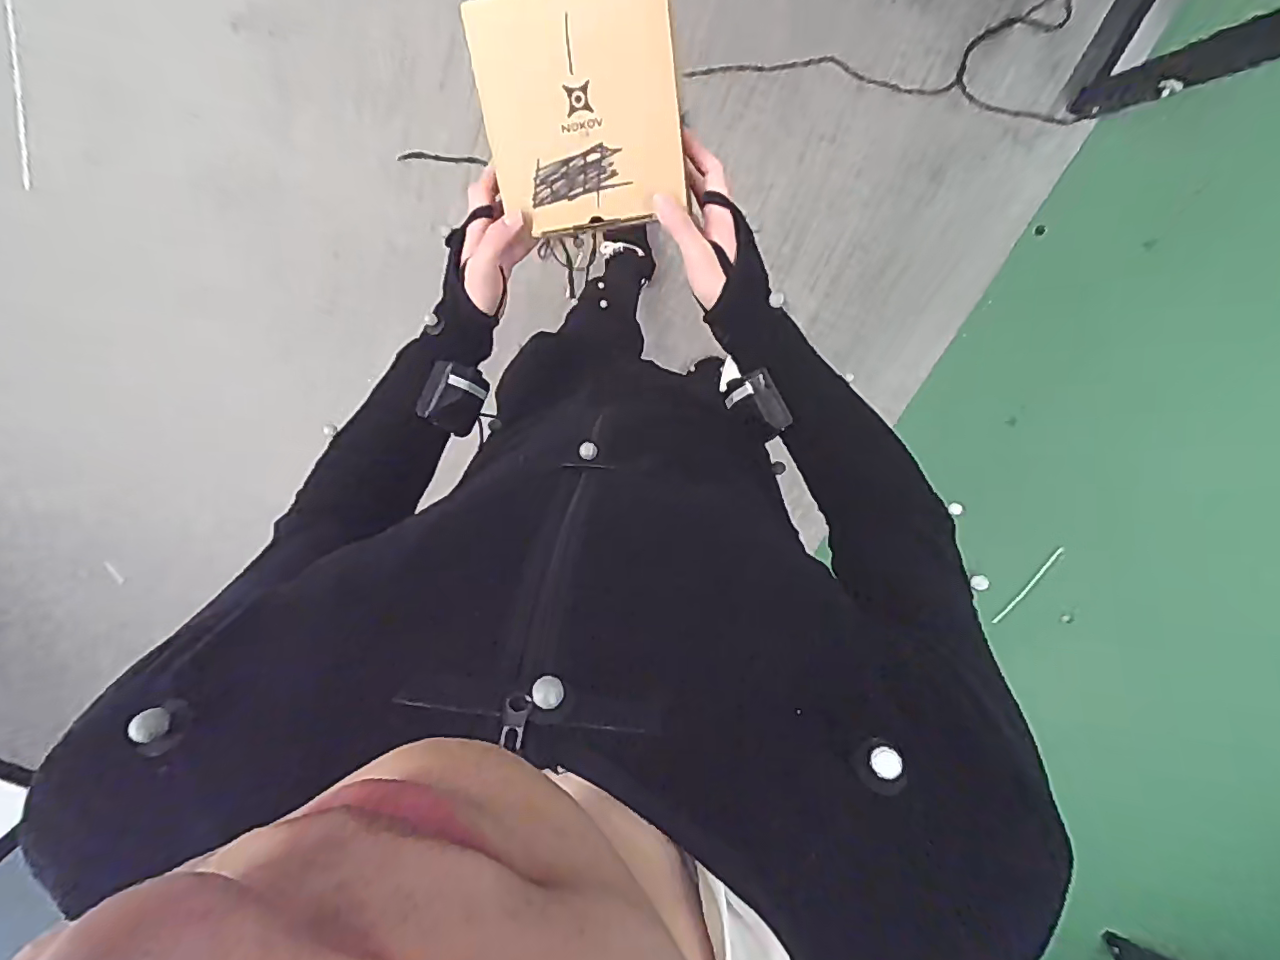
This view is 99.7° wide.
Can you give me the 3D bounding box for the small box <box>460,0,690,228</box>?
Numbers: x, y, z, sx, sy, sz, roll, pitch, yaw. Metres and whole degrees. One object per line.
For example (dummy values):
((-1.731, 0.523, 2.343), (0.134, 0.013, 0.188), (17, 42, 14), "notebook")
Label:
((-0.043, -0.347, 0.517), (0.168, 0.176, 0.179), (-4, 113, 9), "small box")
